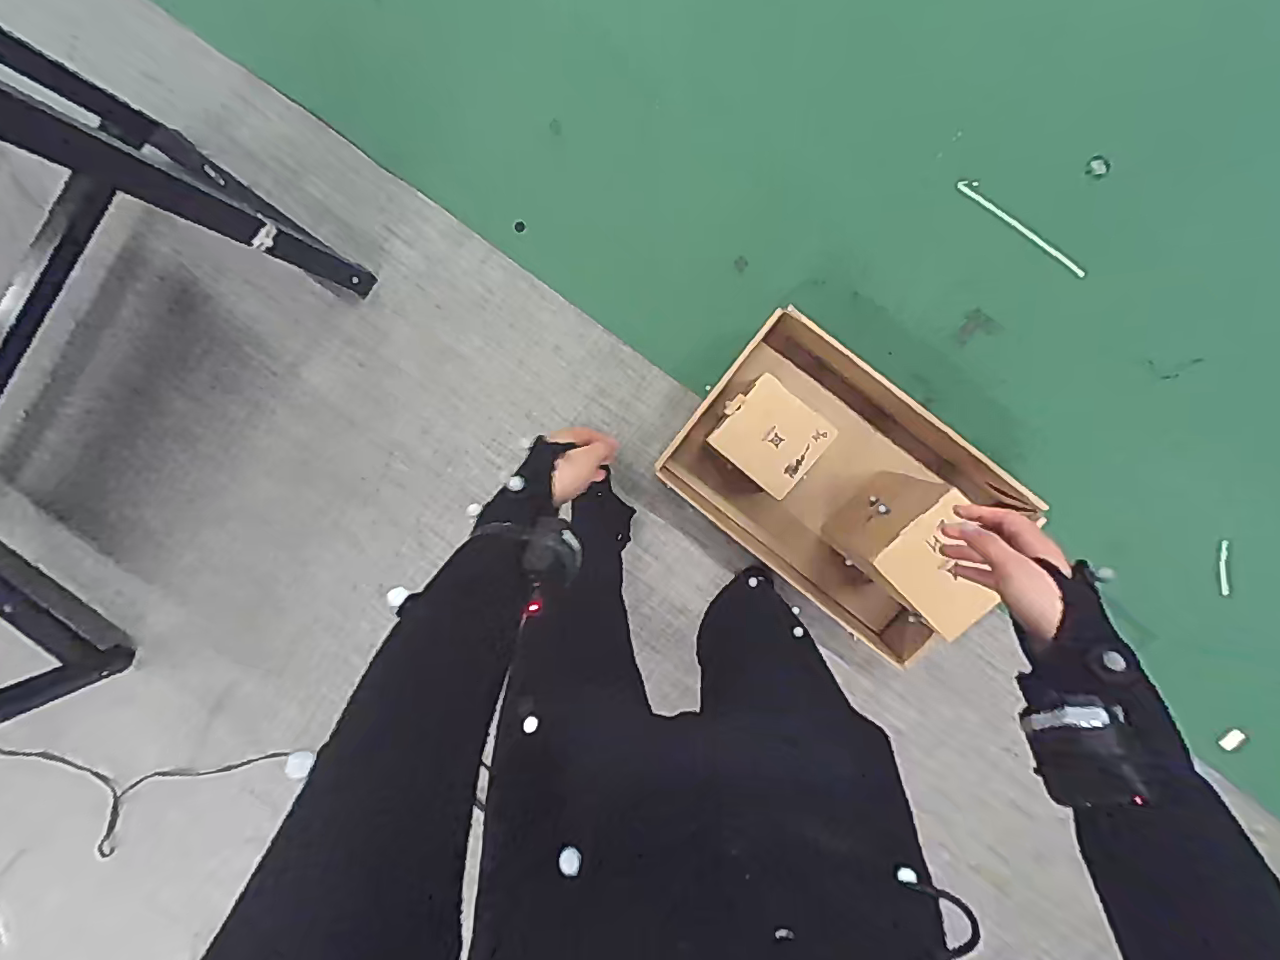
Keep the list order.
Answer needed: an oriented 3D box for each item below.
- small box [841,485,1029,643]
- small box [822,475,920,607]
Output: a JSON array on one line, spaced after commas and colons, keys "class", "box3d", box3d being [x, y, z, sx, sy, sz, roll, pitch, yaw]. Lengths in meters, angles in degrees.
[{"class": "small box", "box3d": [0.466, 0.124, 0.884, 0.168, 0.176, 0.179, -44, 90, 7]}, {"class": "small box", "box3d": [0.482, 0.106, 1.047, 0.179, 0.176, 0.168, -44, 90, 8]}]
